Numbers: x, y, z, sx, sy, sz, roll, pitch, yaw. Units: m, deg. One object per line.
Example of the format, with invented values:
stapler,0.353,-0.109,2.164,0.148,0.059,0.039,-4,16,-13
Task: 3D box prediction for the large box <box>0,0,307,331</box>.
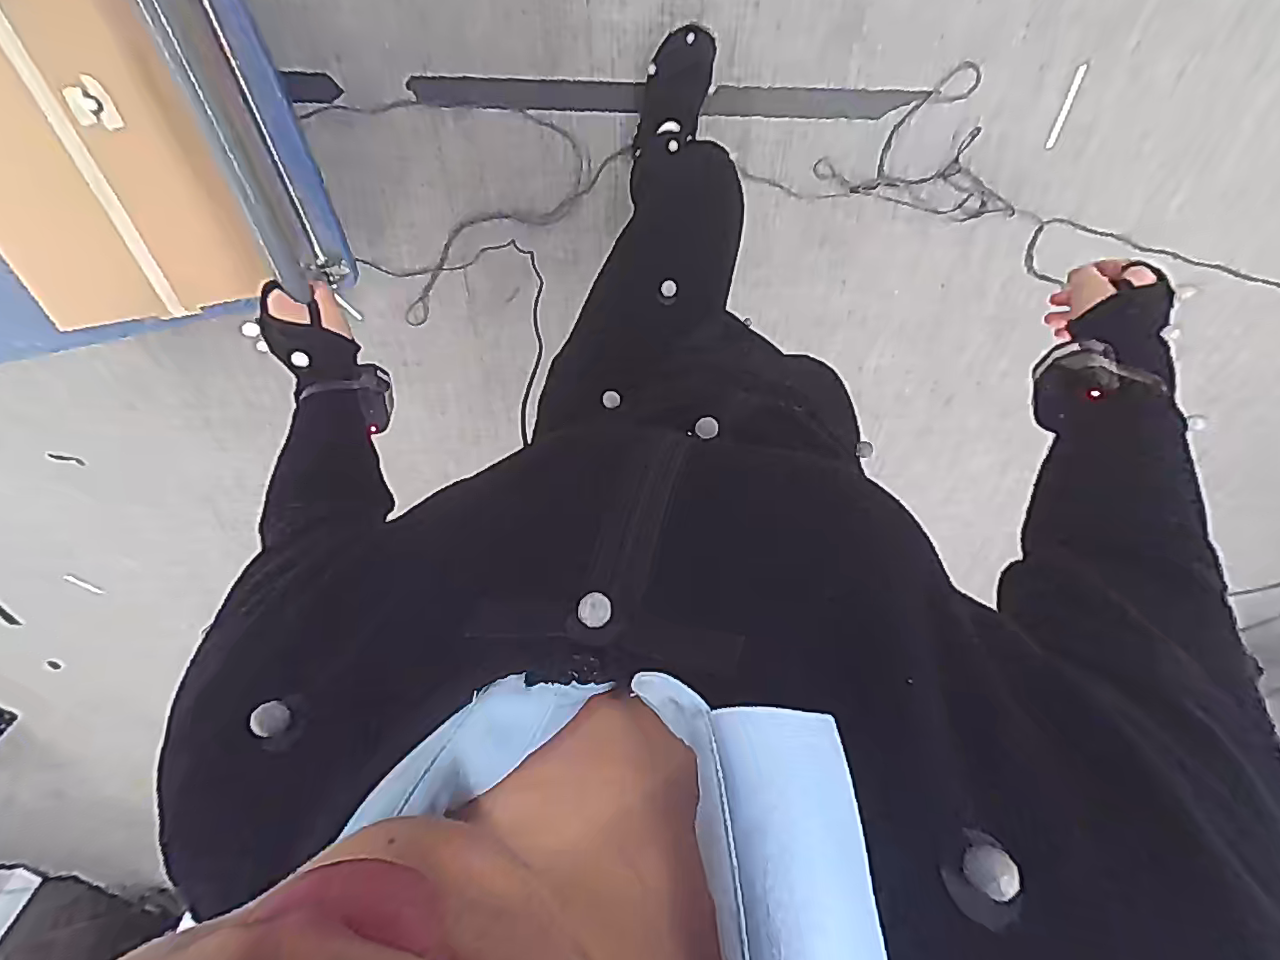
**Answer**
large box,-0.796,-0.506,0.858,0.320,0.320,0.408,-18,128,-15
